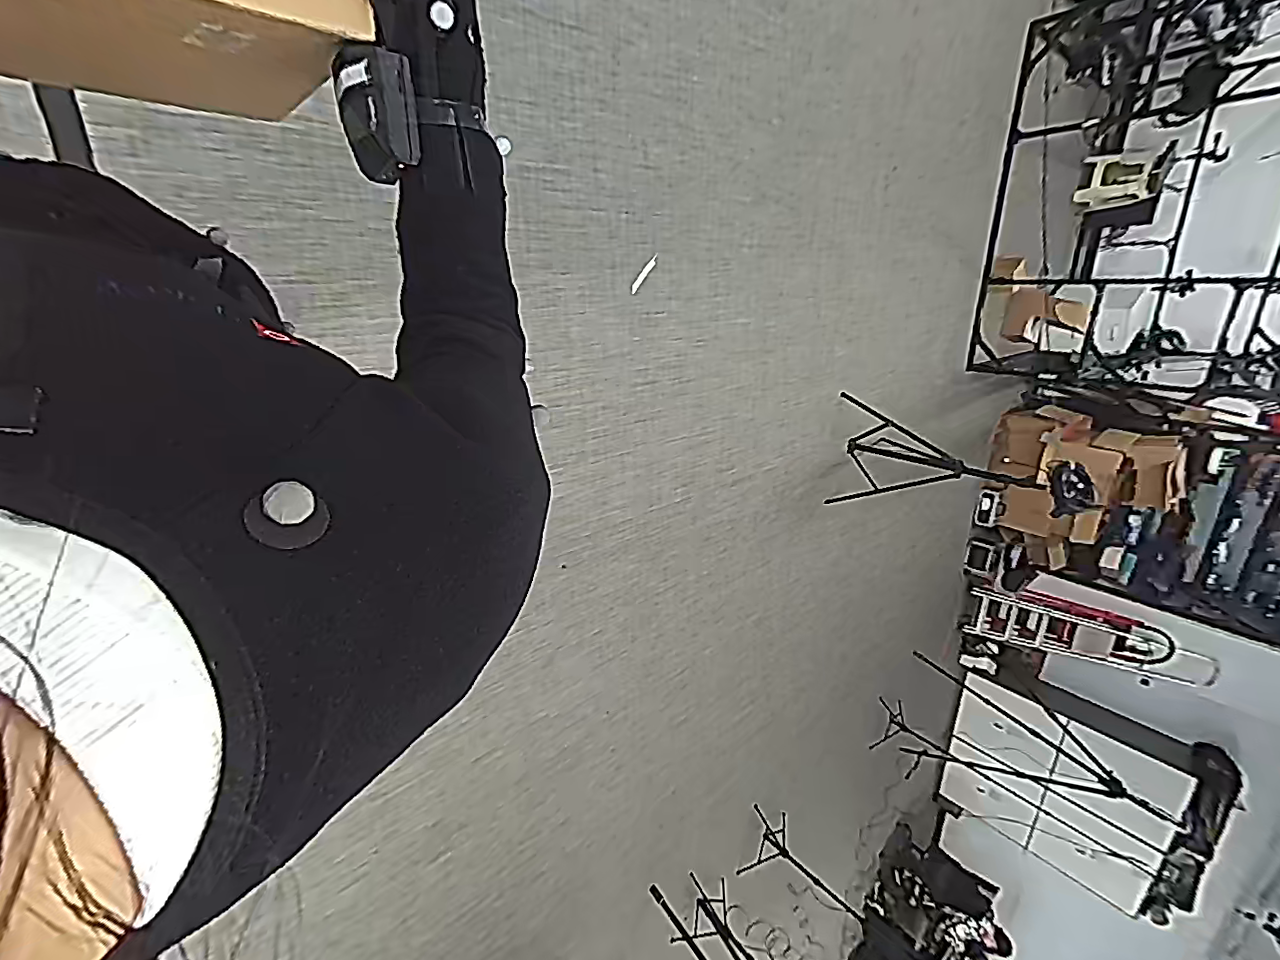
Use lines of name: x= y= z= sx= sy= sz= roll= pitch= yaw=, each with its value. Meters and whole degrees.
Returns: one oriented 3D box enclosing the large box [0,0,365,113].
large box: x=-0.409 y=-0.409 z=0.252 sx=0.408 sy=0.320 sz=0.320 roll=-17 pitch=120 yaw=-38
